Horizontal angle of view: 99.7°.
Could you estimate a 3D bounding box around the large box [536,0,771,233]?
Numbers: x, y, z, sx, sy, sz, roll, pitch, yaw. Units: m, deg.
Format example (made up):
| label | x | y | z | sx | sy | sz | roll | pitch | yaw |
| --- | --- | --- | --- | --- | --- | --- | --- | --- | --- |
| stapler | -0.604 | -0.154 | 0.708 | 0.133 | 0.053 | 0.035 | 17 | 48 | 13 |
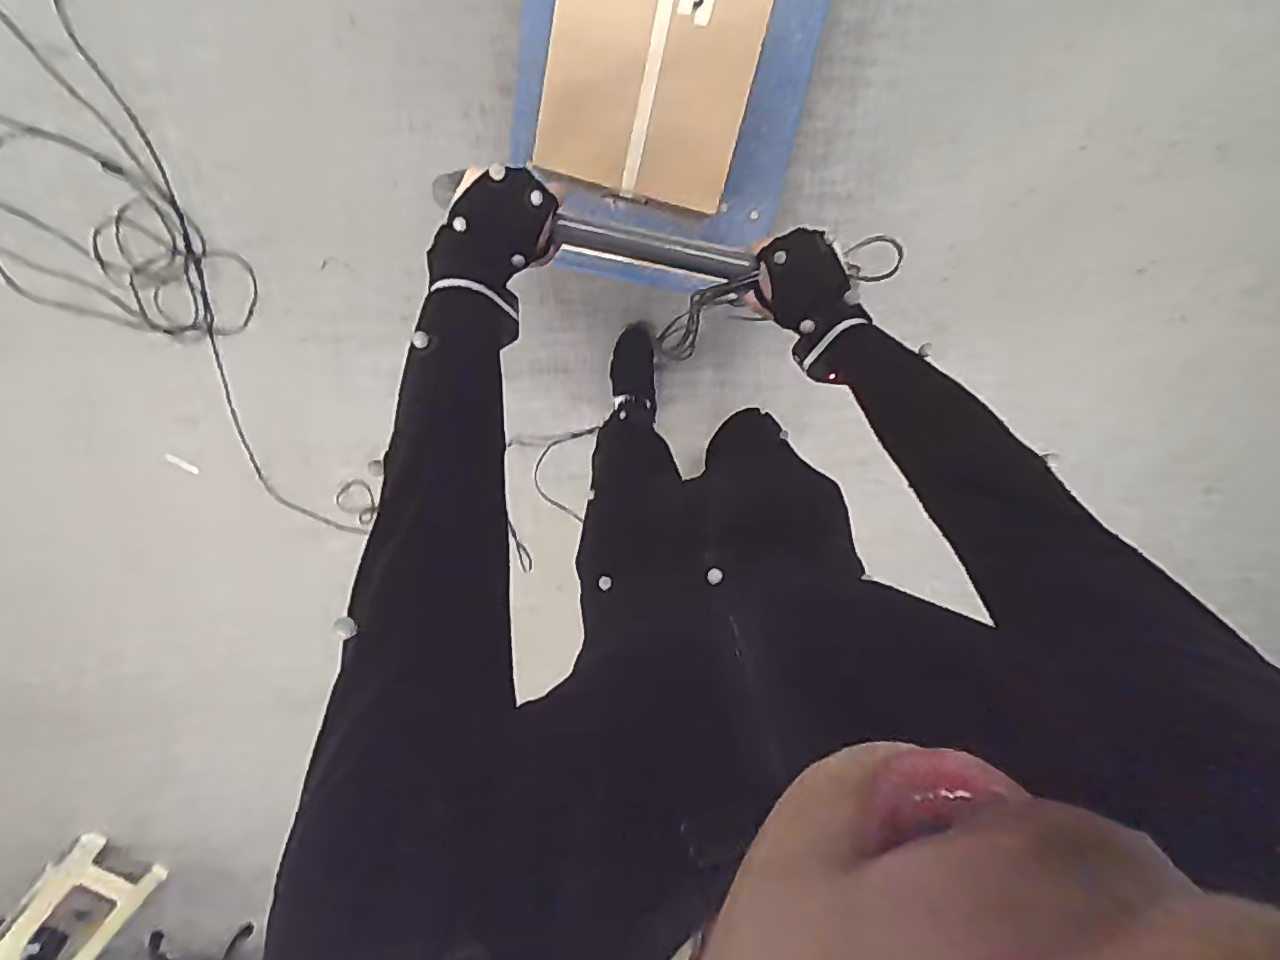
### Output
| label | x | y | z | sx | sy | sz | roll | pitch | yaw |
| --- | --- | --- | --- | --- | --- | --- | --- | --- | --- |
| large box | 0.018 | -0.700 | 0.970 | 0.320 | 0.320 | 0.408 | 12 | 110 | -7 |
